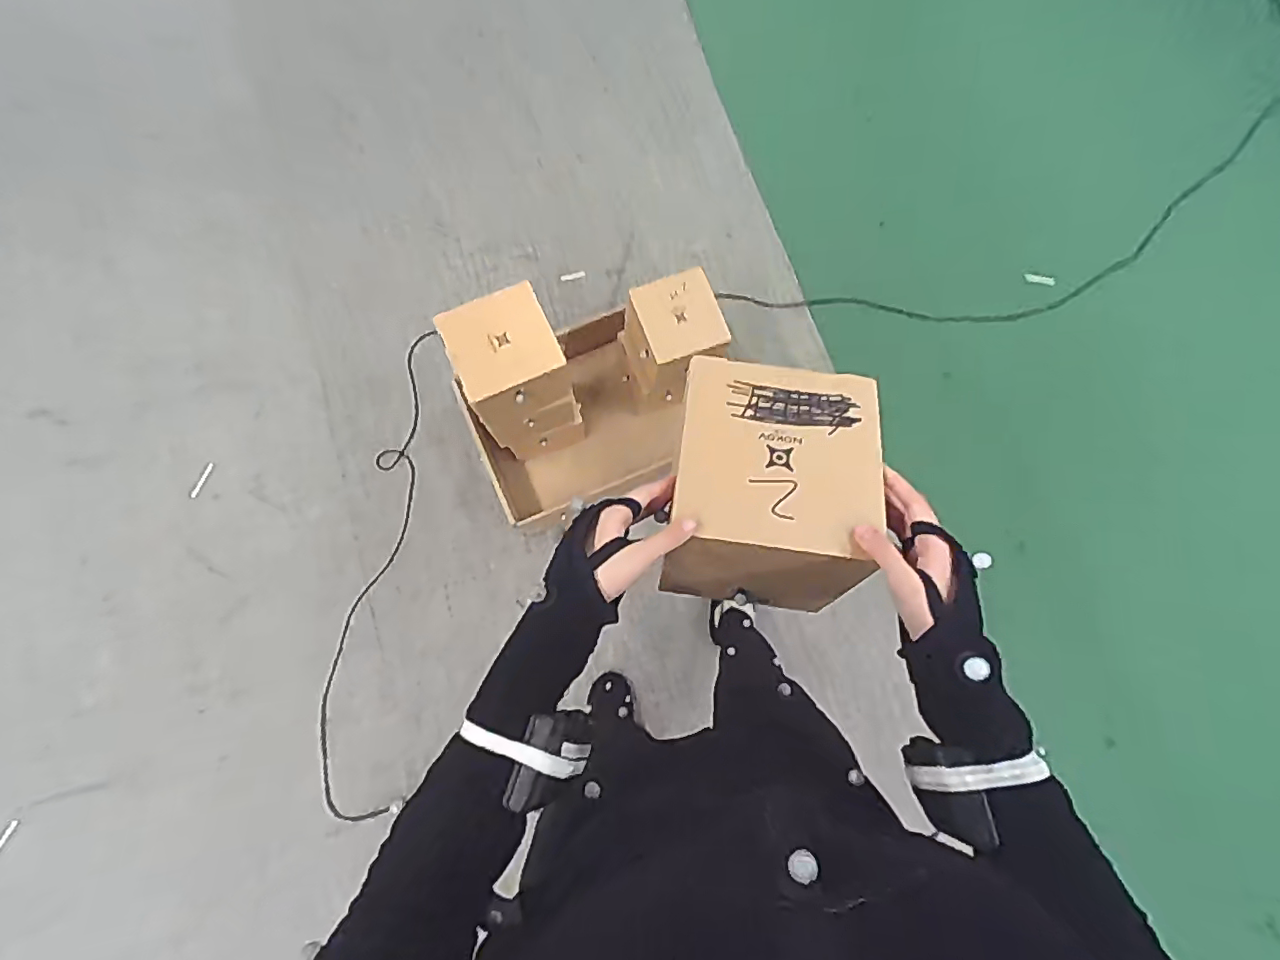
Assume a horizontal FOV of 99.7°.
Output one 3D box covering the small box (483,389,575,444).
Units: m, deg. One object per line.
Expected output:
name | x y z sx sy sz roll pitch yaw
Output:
small box | -0.243 -0.189 1.132 0.179 0.176 0.168 -19 82 -8

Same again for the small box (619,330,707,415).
small box | 0.056 -0.279 1.334 0.179 0.176 0.168 -19 80 -6

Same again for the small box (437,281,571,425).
small box | -0.233 -0.219 0.973 0.179 0.176 0.168 -24 83 -7

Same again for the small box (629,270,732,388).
small box | 0.080 -0.315 1.174 0.168 0.176 0.179 -19 80 -8
